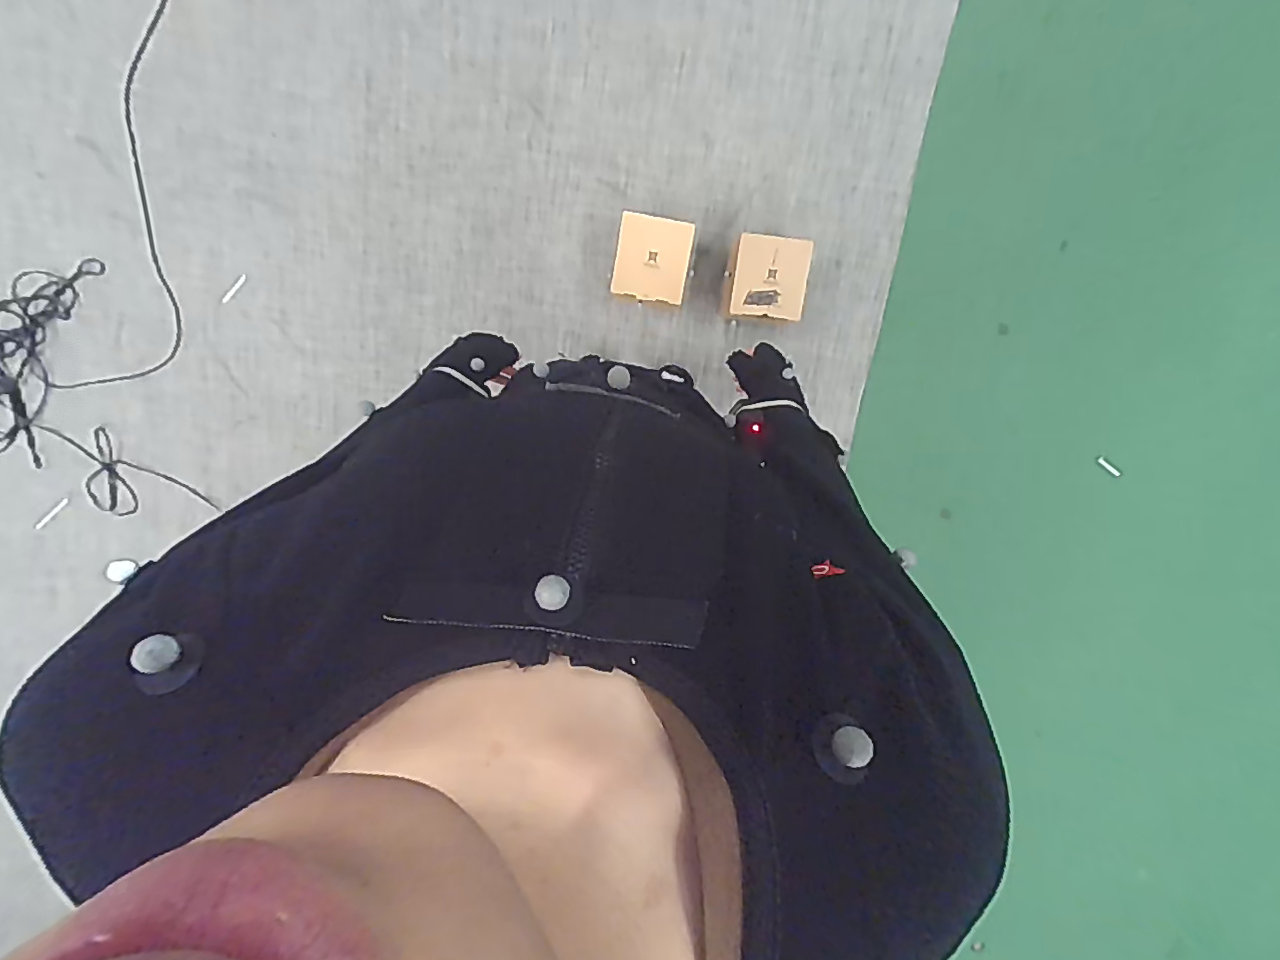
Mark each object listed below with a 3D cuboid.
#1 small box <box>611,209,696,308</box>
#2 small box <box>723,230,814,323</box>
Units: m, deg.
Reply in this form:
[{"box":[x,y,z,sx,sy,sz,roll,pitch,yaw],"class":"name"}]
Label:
[{"box":[0.030,-0.517,1.284,0.168,0.176,0.179,10,104,-1],"class":"small box"},{"box":[0.296,-0.475,1.285,0.168,0.176,0.179,7,103,0],"class":"small box"}]
